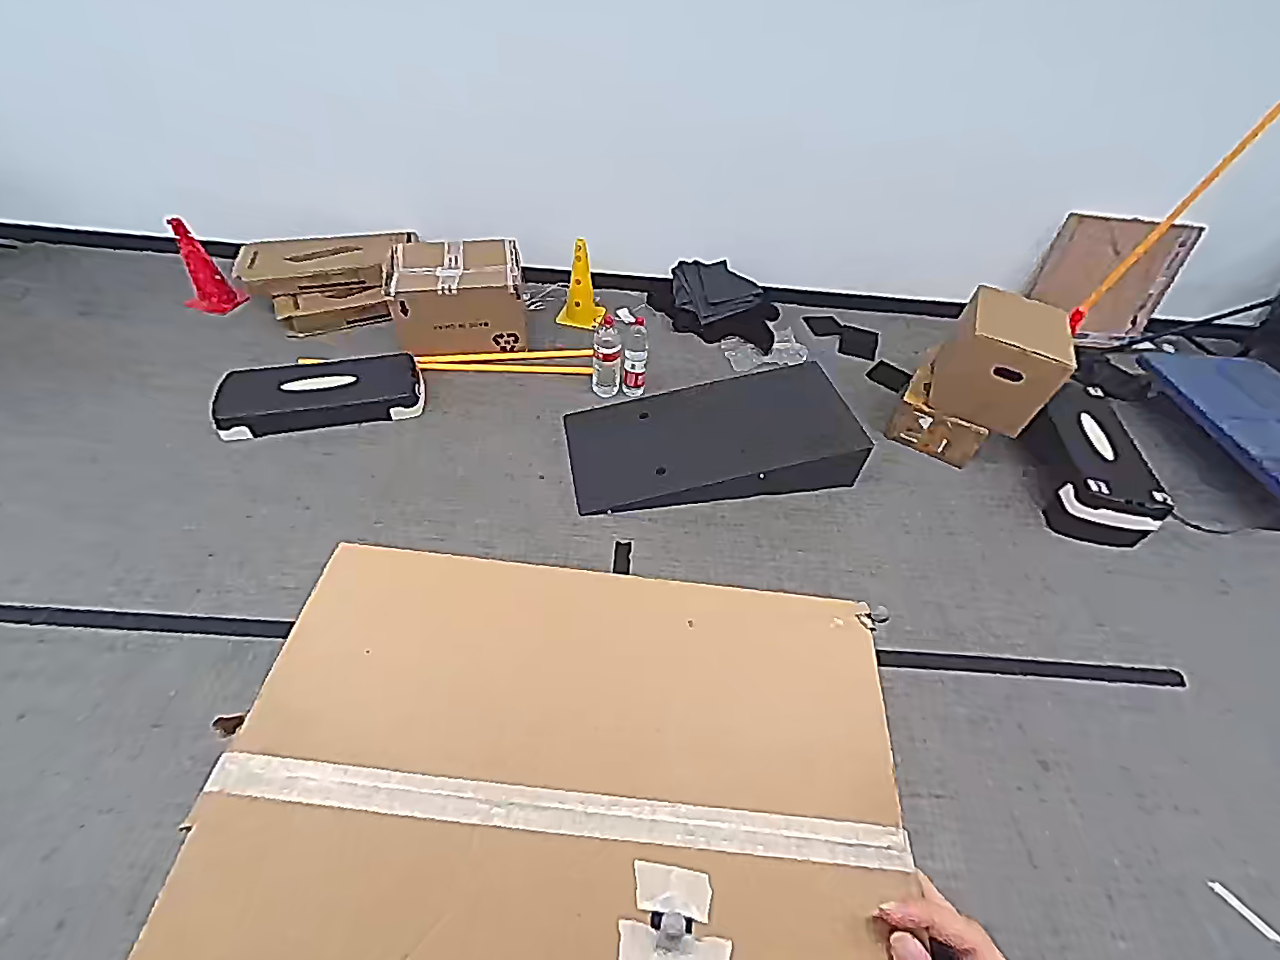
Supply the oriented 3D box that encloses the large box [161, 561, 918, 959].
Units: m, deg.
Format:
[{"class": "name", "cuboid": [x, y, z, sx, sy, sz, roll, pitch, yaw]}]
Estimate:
[{"class": "large box", "cuboid": [-0.052, 0.291, 0.444, 0.408, 0.320, 0.320, 7, 53, 0]}]
